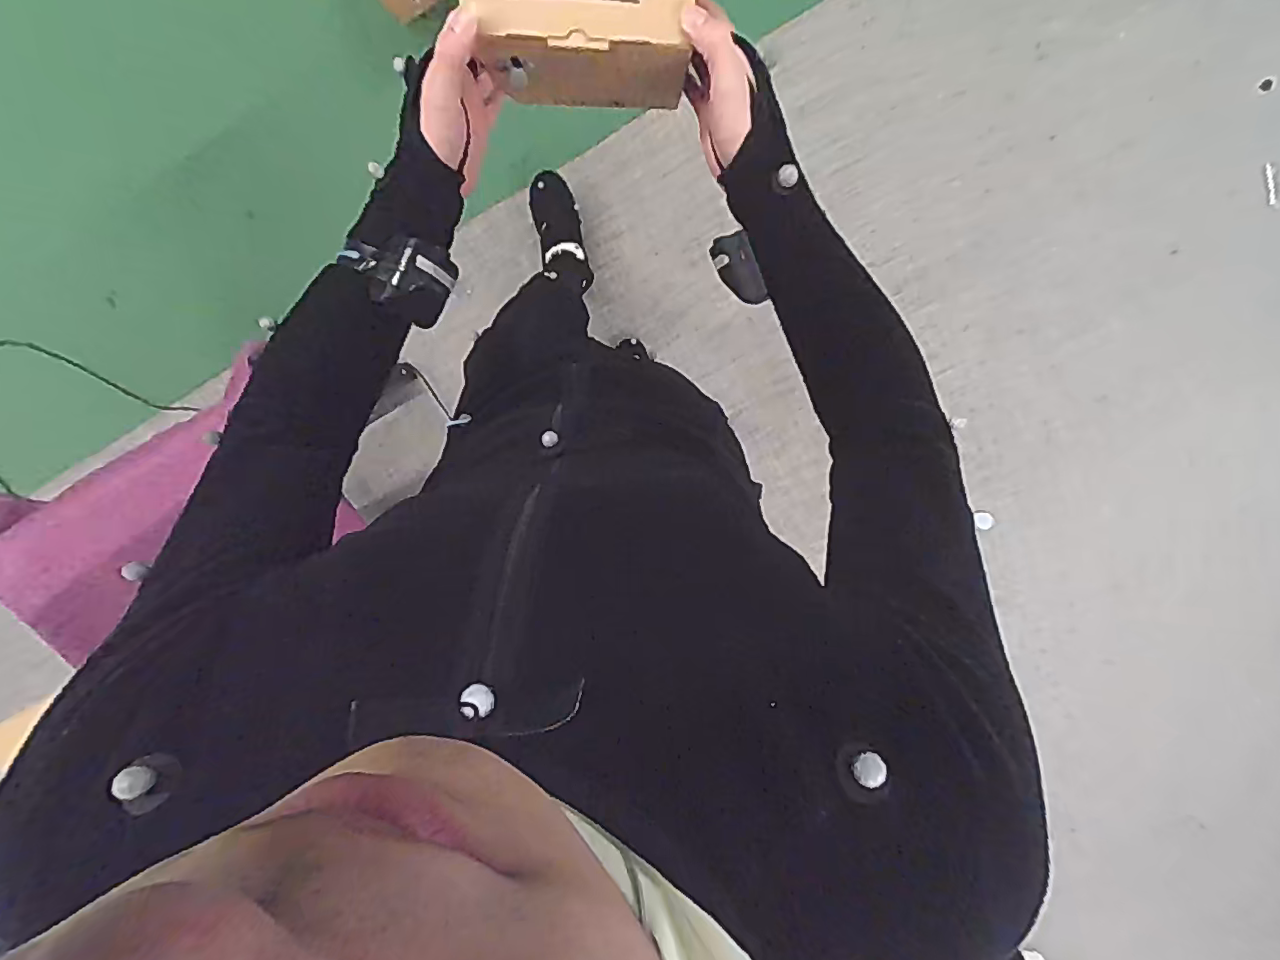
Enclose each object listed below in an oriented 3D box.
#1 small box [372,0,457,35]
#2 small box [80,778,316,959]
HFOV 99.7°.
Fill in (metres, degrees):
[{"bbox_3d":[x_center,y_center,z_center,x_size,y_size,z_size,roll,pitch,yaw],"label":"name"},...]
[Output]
[{"bbox_3d":[-0.536,-1.144,1.186,0.168,0.176,0.179,-26,107,9],"label":"small box"},{"bbox_3d":[-0.640,0.594,0.809,0.179,0.176,0.168,-29,104,9],"label":"small box"}]
